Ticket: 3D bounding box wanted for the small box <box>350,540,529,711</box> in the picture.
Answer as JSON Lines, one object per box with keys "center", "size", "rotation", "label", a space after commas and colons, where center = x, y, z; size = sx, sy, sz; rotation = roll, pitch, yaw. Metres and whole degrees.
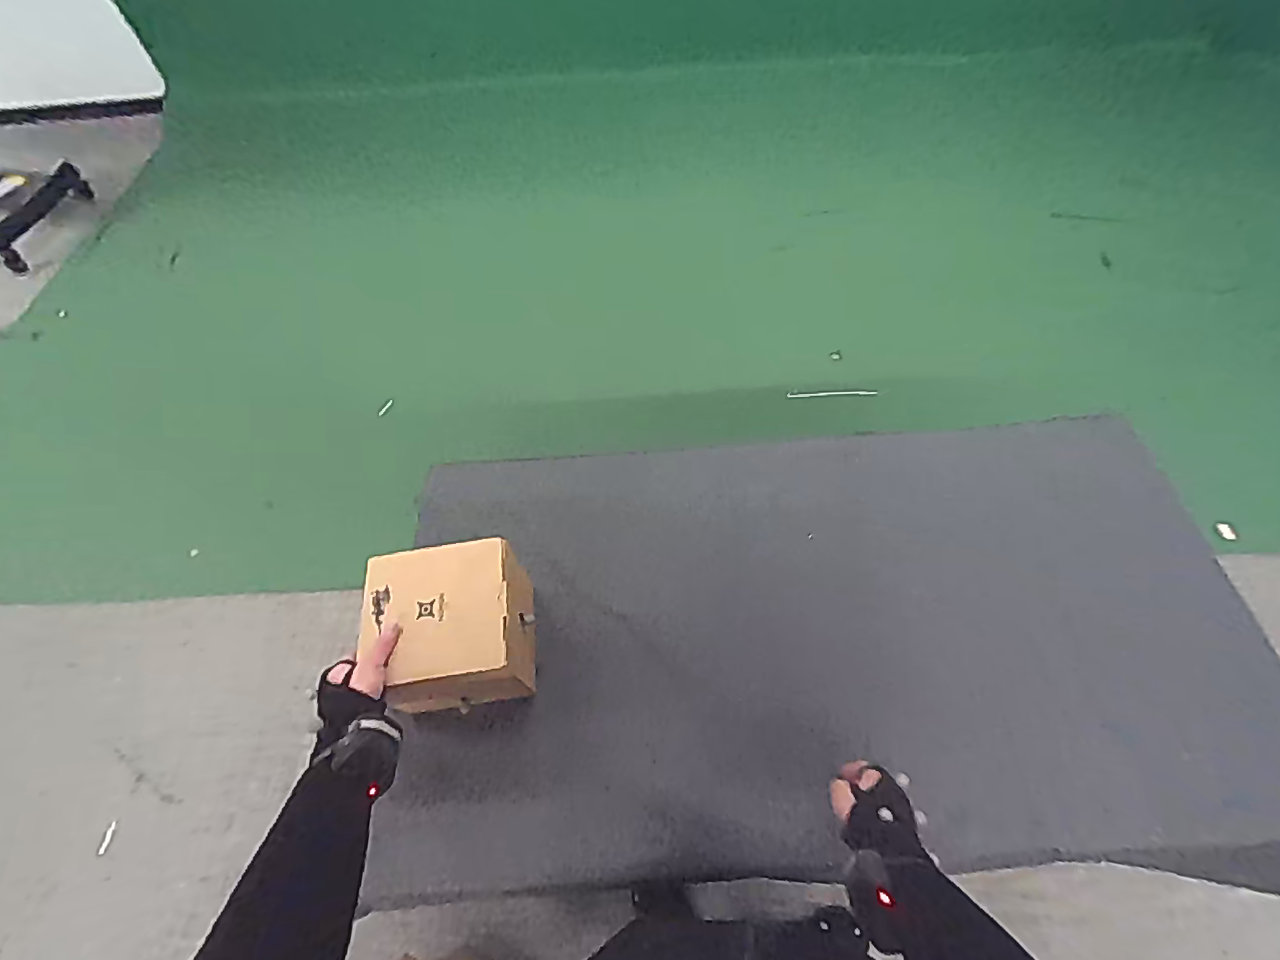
{"center": [-0.245, 0.196, 0.713], "size": [0.179, 0.176, 0.168], "rotation": [-7, 58, -3], "label": "small box"}
